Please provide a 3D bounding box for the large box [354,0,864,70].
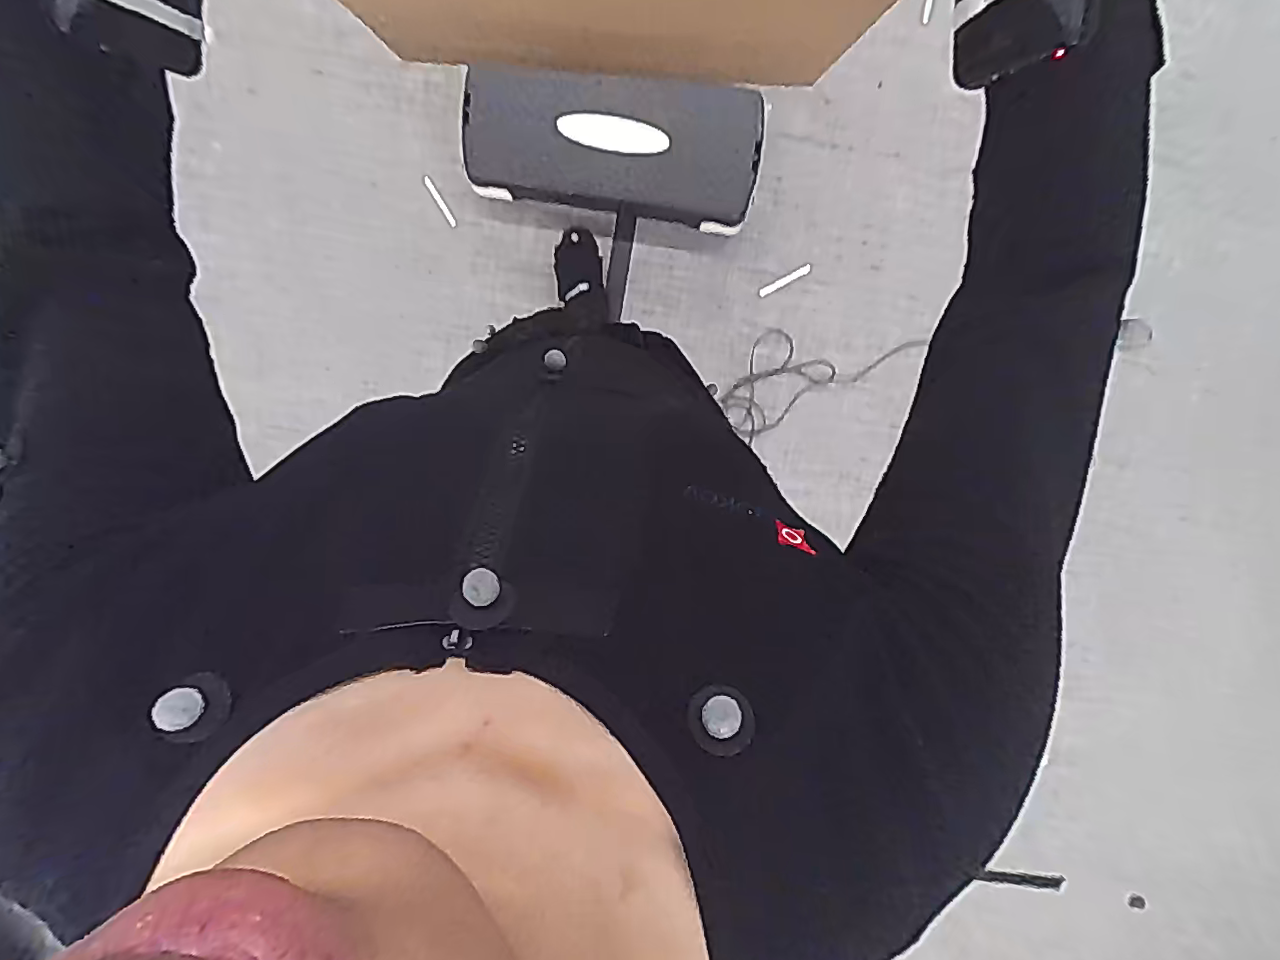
[{"bbox_3d":[-0.024,-0.497,0.339,0.408,0.320,0.320,1,112,-2],"label":"large box"}]
